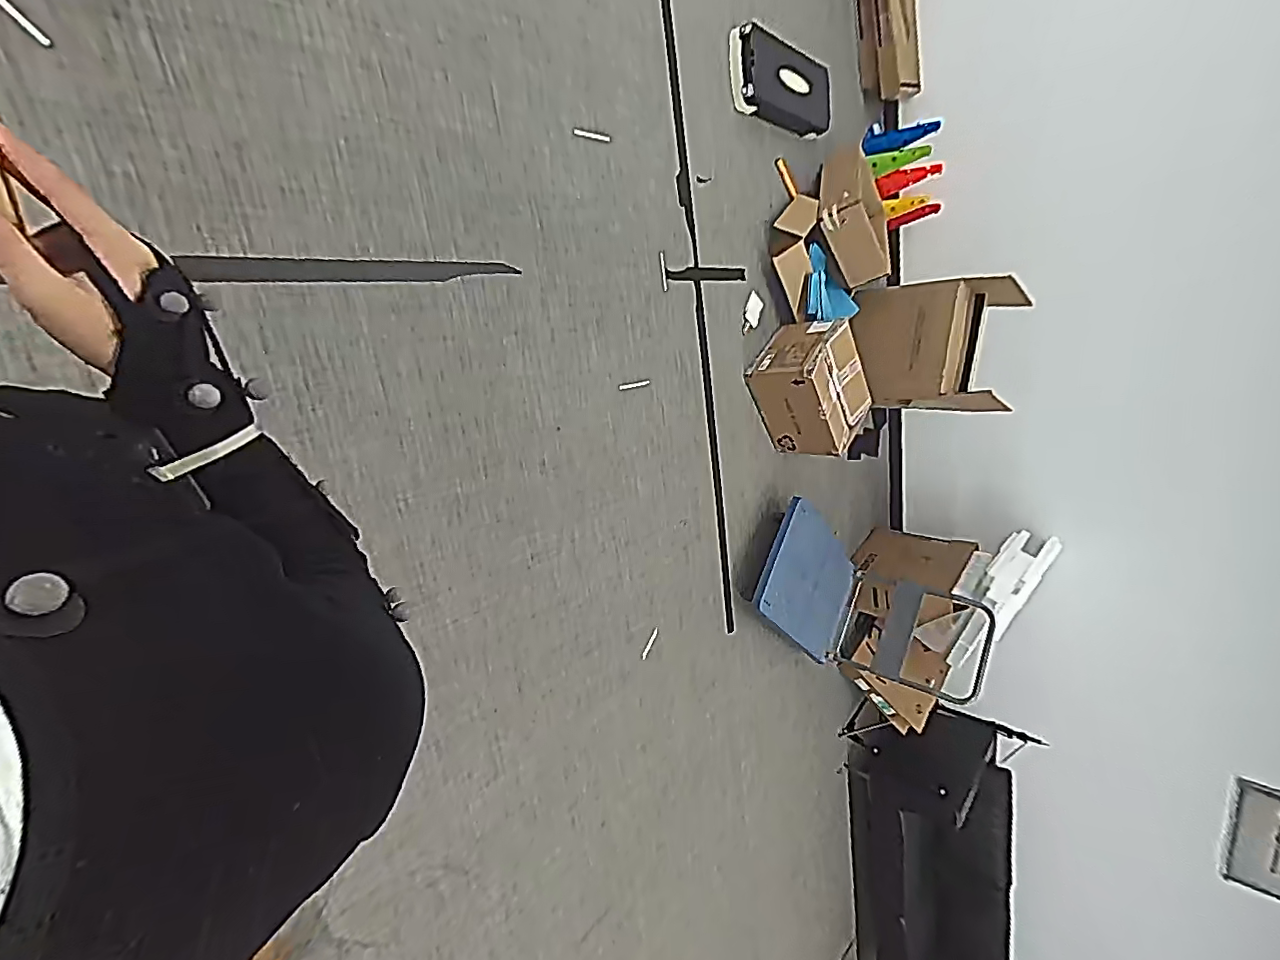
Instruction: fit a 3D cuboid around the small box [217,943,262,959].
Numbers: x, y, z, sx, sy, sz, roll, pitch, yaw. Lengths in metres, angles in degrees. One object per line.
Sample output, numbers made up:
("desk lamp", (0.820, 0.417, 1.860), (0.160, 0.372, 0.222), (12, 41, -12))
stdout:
("small box", (-0.900, 1.169, 1.173), (0.168, 0.176, 0.179), (-23, 113, -42))
